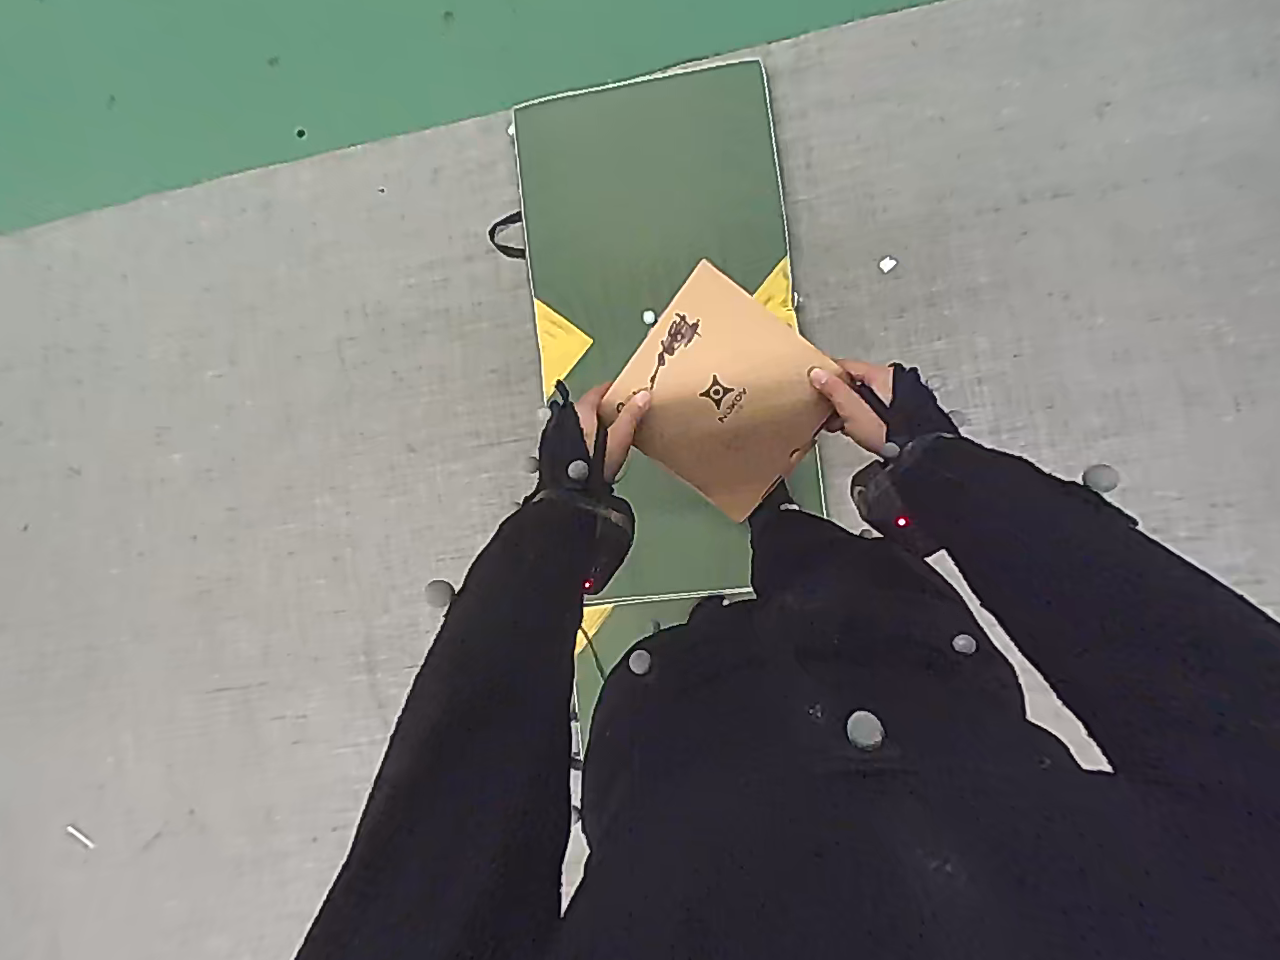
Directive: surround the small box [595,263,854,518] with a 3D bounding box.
[{"bbox_3d":[0.076,-0.094,0.560,0.179,0.176,0.168,36,101,-7],"label":"small box"}]
